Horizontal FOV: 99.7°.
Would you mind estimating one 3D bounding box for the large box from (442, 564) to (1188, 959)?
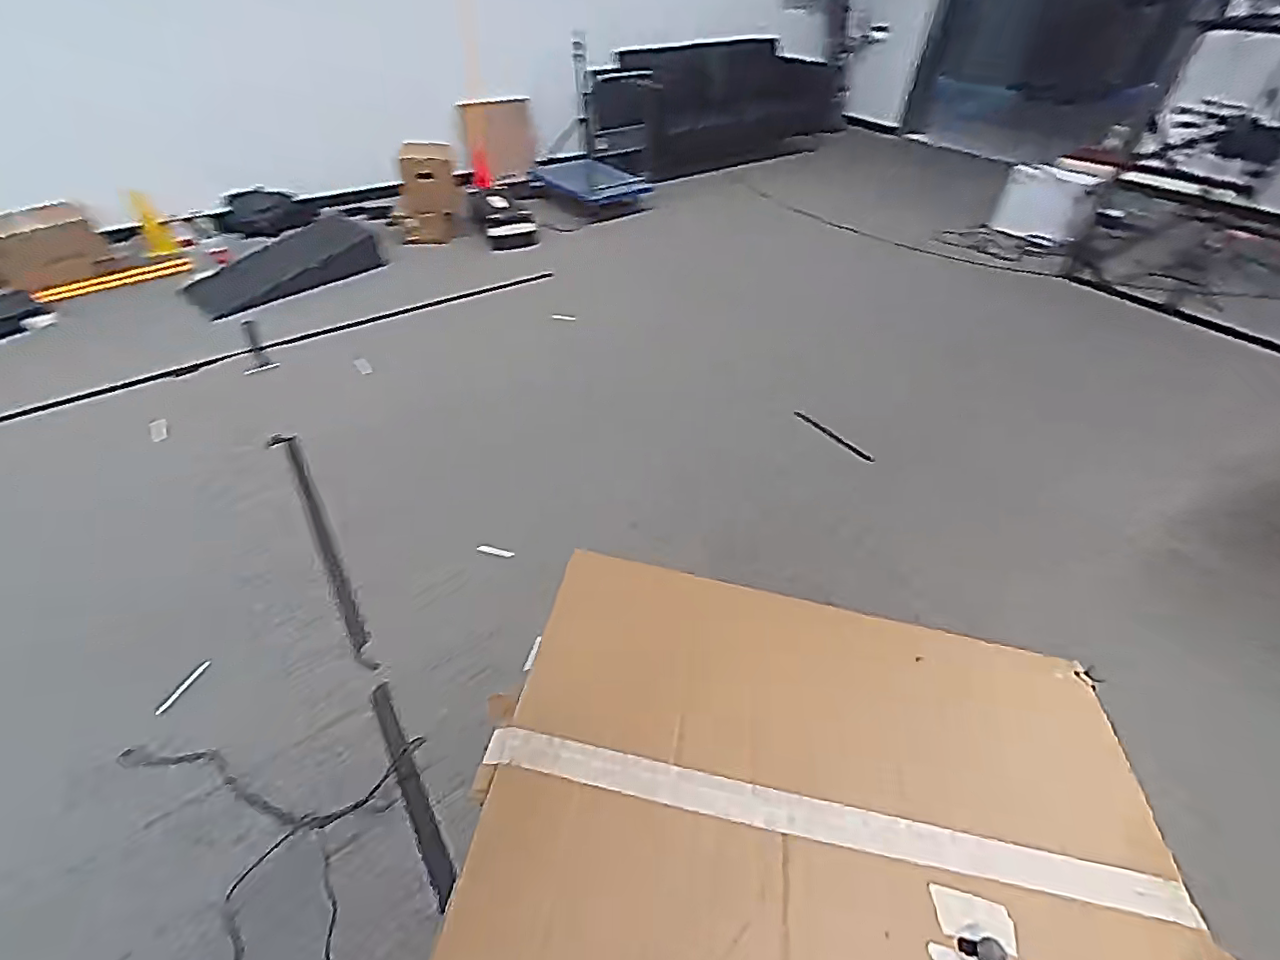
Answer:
[{"bbox_3d":[0.089,0.314,0.424,0.408,0.320,0.320,13,44,1],"label":"large box"}]
